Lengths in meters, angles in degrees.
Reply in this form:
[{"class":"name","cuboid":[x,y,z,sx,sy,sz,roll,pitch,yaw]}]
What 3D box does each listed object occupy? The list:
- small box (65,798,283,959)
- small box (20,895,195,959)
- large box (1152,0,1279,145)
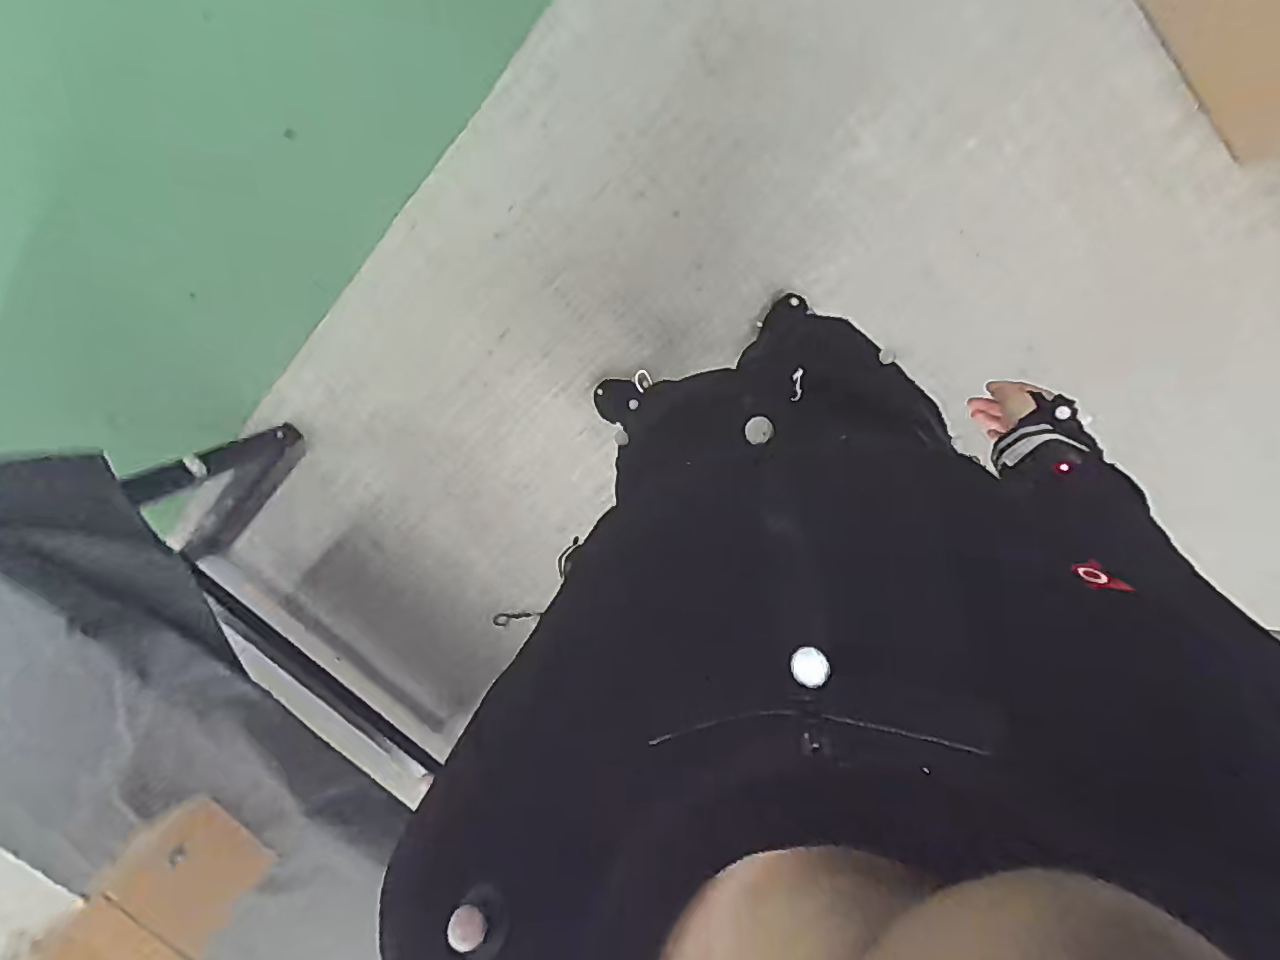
[{"class":"small box","cuboid":[-0.748,0.656,0.885,0.168,0.176,0.179,-33,104,19]},{"class":"small box","cuboid":[-0.771,0.718,0.736,0.168,0.176,0.179,-33,103,19]},{"class":"large box","cuboid":[1.107,-0.809,0.809,0.408,0.320,0.320,43,110,-11]}]
